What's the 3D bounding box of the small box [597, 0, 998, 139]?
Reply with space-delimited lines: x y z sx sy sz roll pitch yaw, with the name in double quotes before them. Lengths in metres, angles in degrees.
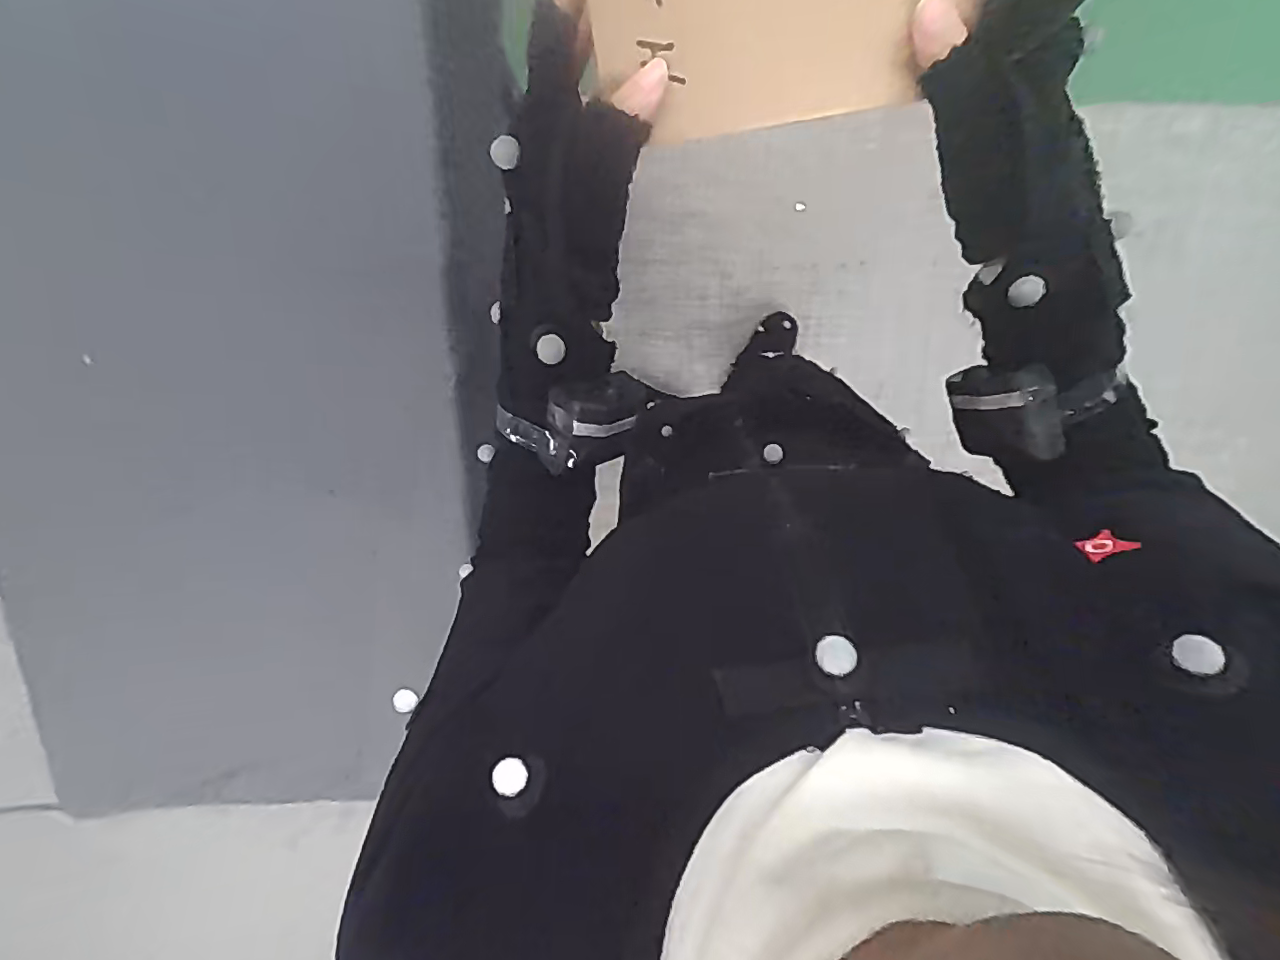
"small box" 0.063 -0.291 0.269 0.179 0.176 0.168 -8 131 1
